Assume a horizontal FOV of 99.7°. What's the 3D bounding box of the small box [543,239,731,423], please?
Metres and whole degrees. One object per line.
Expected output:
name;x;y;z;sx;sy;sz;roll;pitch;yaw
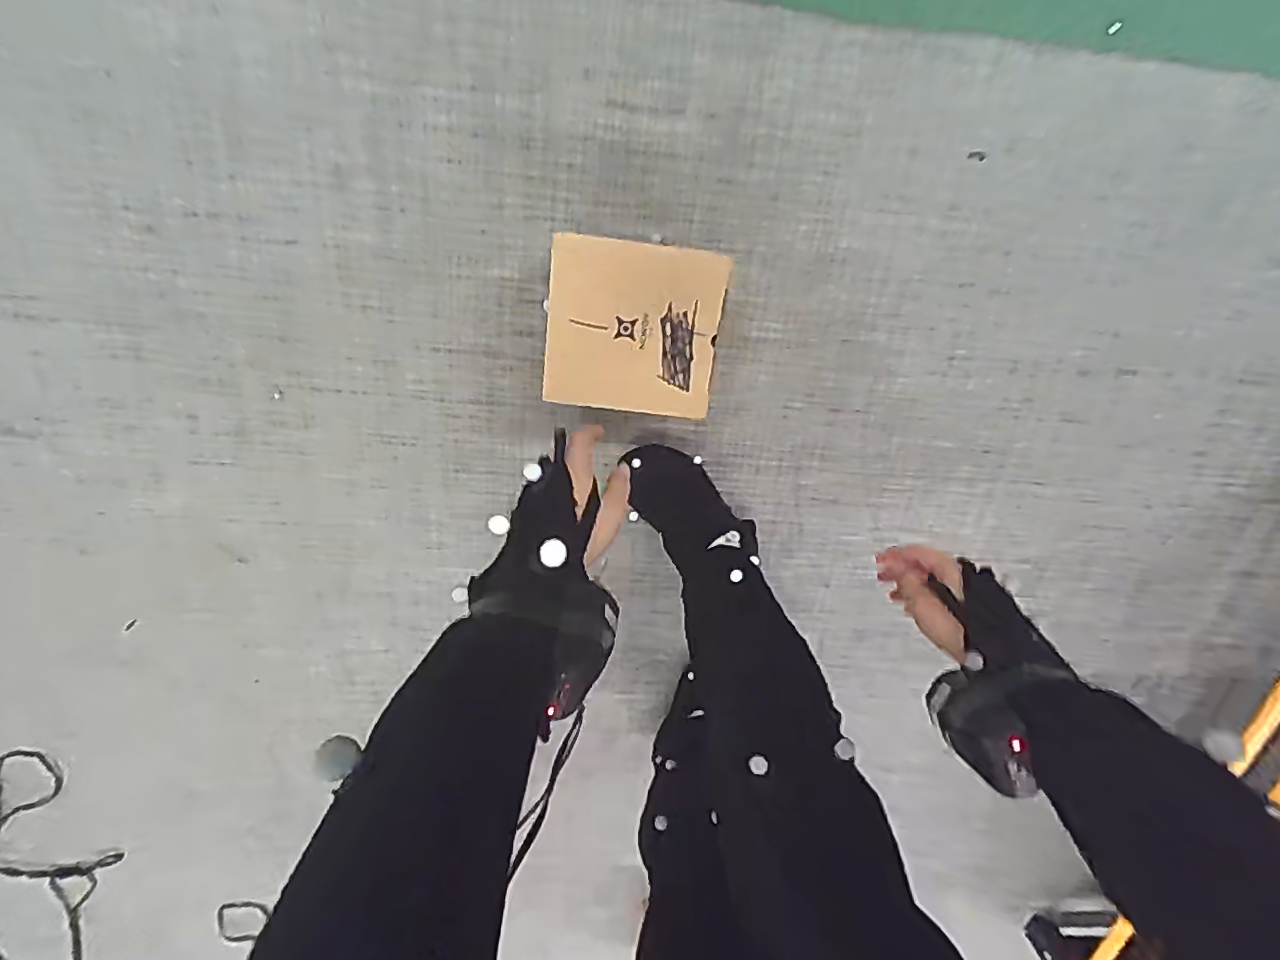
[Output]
small box;-0.010;-0.175;0.624;0.179;0.176;0.168;6;110;-4

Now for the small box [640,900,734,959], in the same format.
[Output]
small box;0.093;0.969;1.068;0.179;0.176;0.168;-1;111;-3
